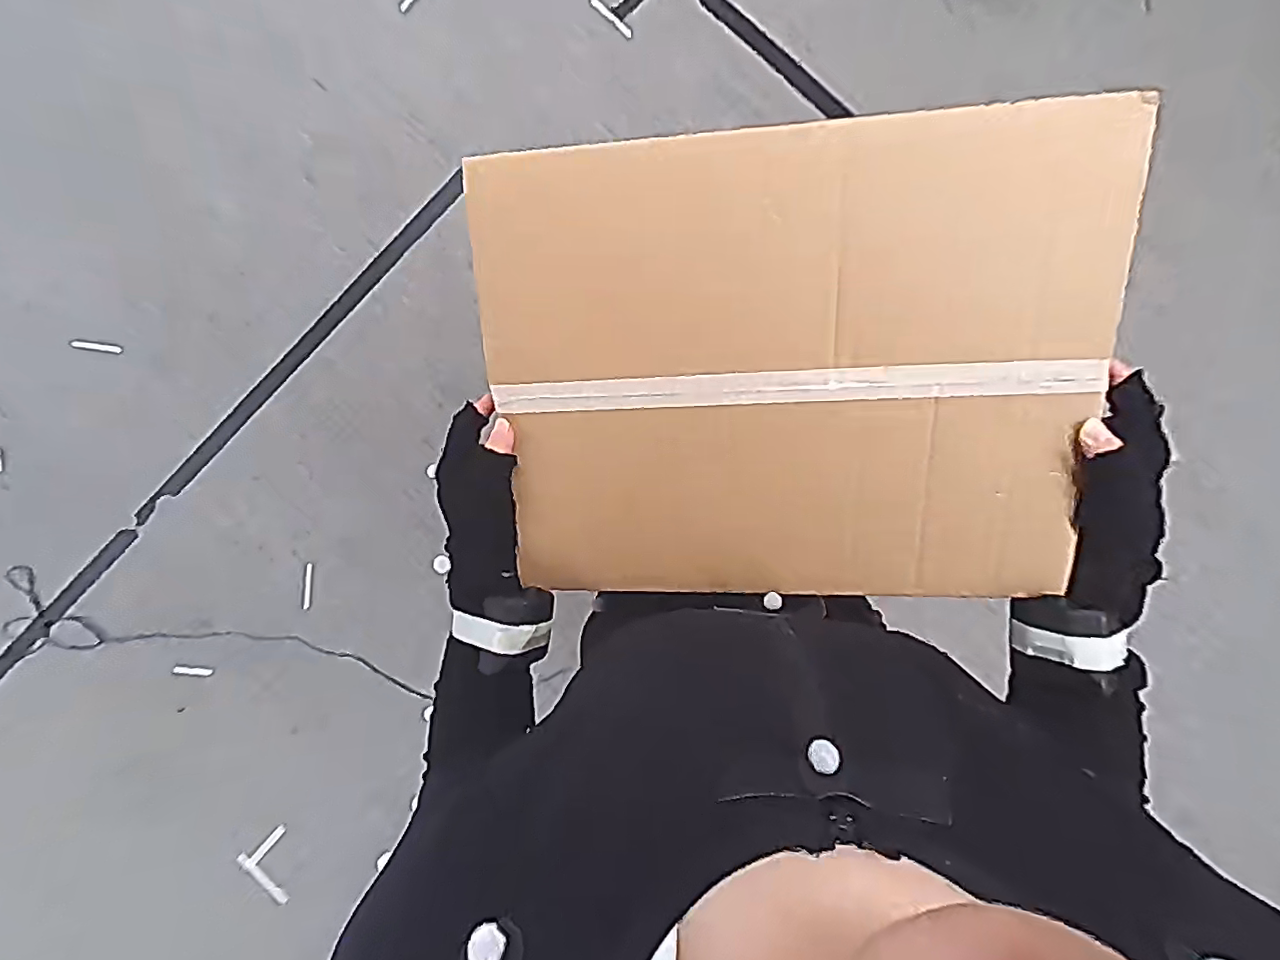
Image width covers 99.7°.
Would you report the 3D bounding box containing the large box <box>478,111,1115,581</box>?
[{"bbox_3d":[0.109,-0.110,0.527,0.408,0.320,0.320,-1,108,7],"label":"large box"}]
